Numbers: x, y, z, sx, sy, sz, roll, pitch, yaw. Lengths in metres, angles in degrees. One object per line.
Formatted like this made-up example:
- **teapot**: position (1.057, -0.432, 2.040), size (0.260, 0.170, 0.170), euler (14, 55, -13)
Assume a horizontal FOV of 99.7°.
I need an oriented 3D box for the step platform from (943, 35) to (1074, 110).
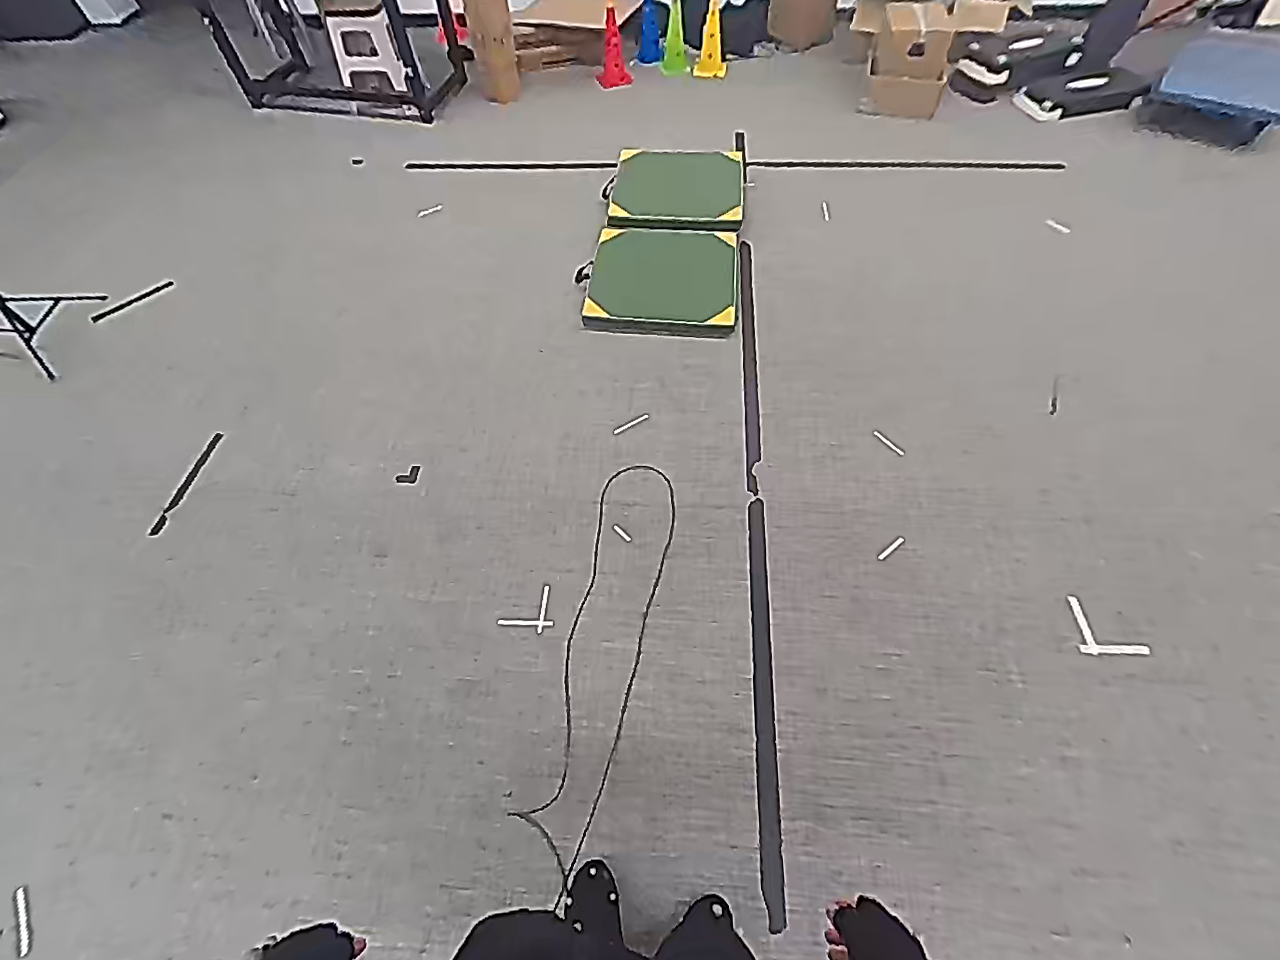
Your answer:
- **step platform**: position (2.142, -2.373, 3.141), size (0.684, 0.204, 0.286), euler (-22, 59, -12)
